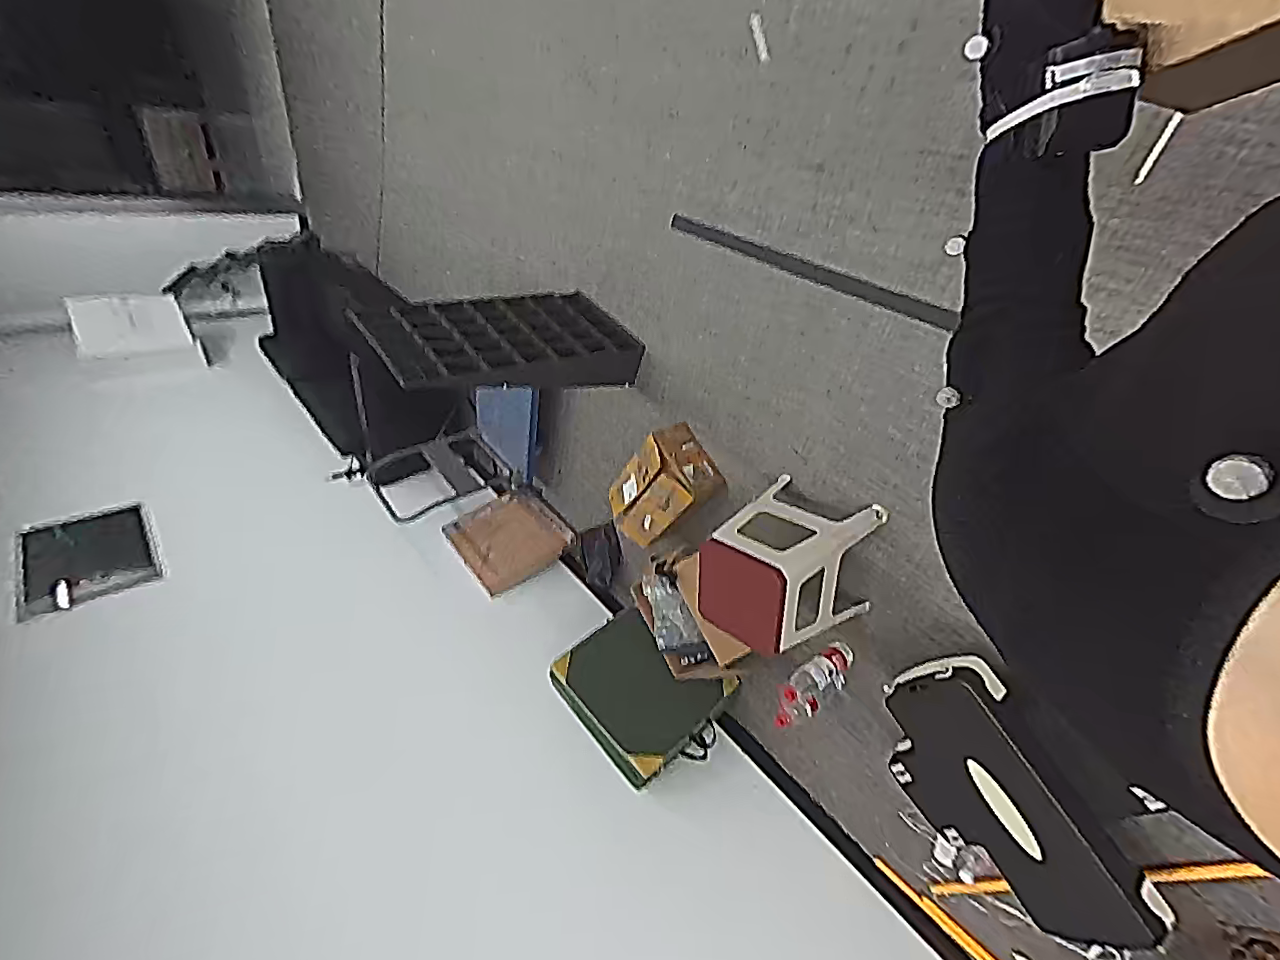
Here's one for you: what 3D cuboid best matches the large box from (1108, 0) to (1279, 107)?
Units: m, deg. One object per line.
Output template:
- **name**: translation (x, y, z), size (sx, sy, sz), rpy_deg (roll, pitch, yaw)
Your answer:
- **large box**: translation (0.514, -0.461, 0.265), size (0.408, 0.320, 0.320), rpy_deg (2, 111, 52)
